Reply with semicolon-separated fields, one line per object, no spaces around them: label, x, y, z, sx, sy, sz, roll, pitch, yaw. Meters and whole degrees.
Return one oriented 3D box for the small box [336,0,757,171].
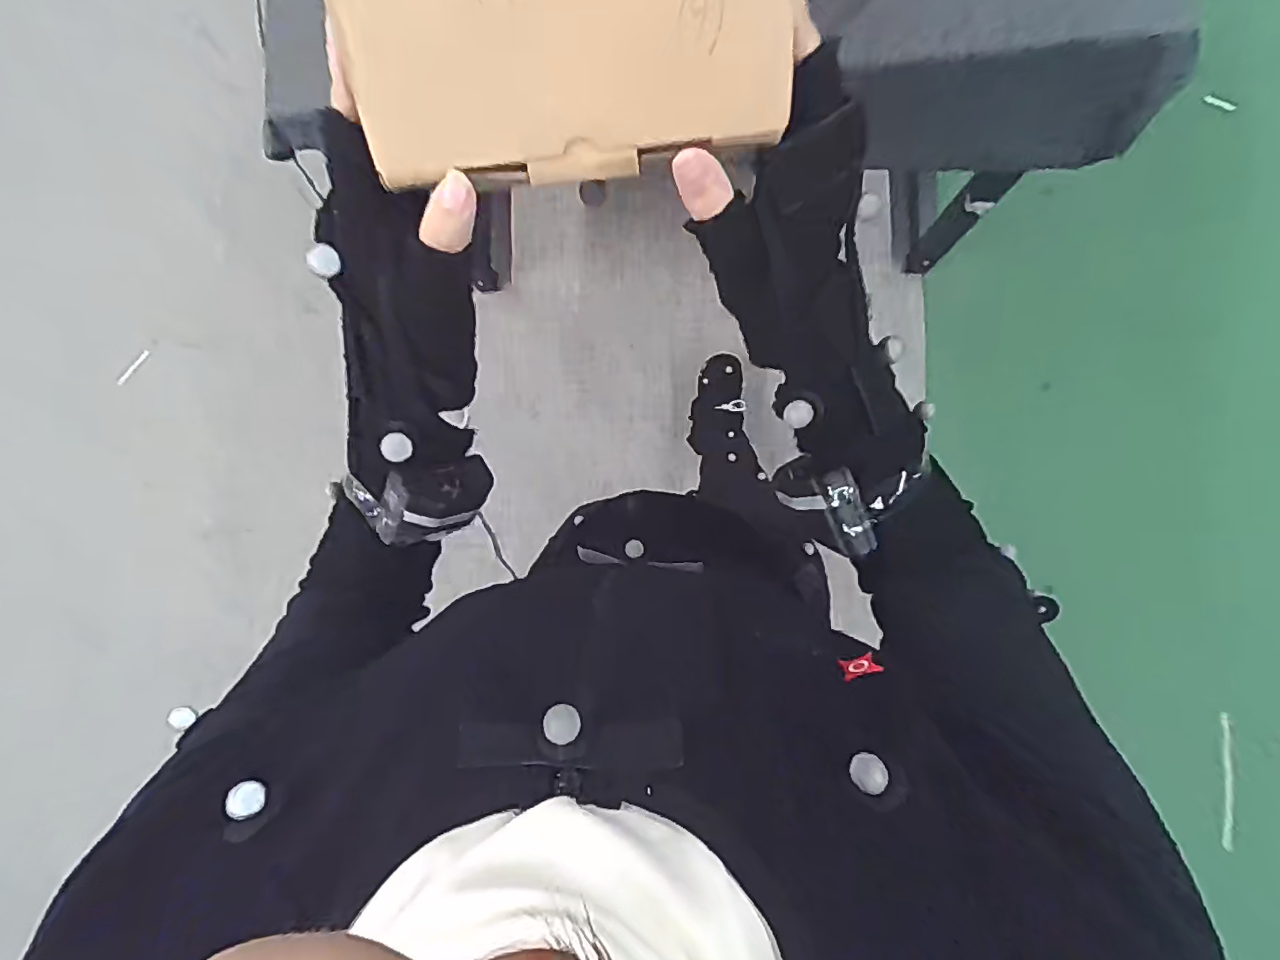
small box;-0.042;-0.260;0.262;0.168;0.176;0.179;-8;118;2
